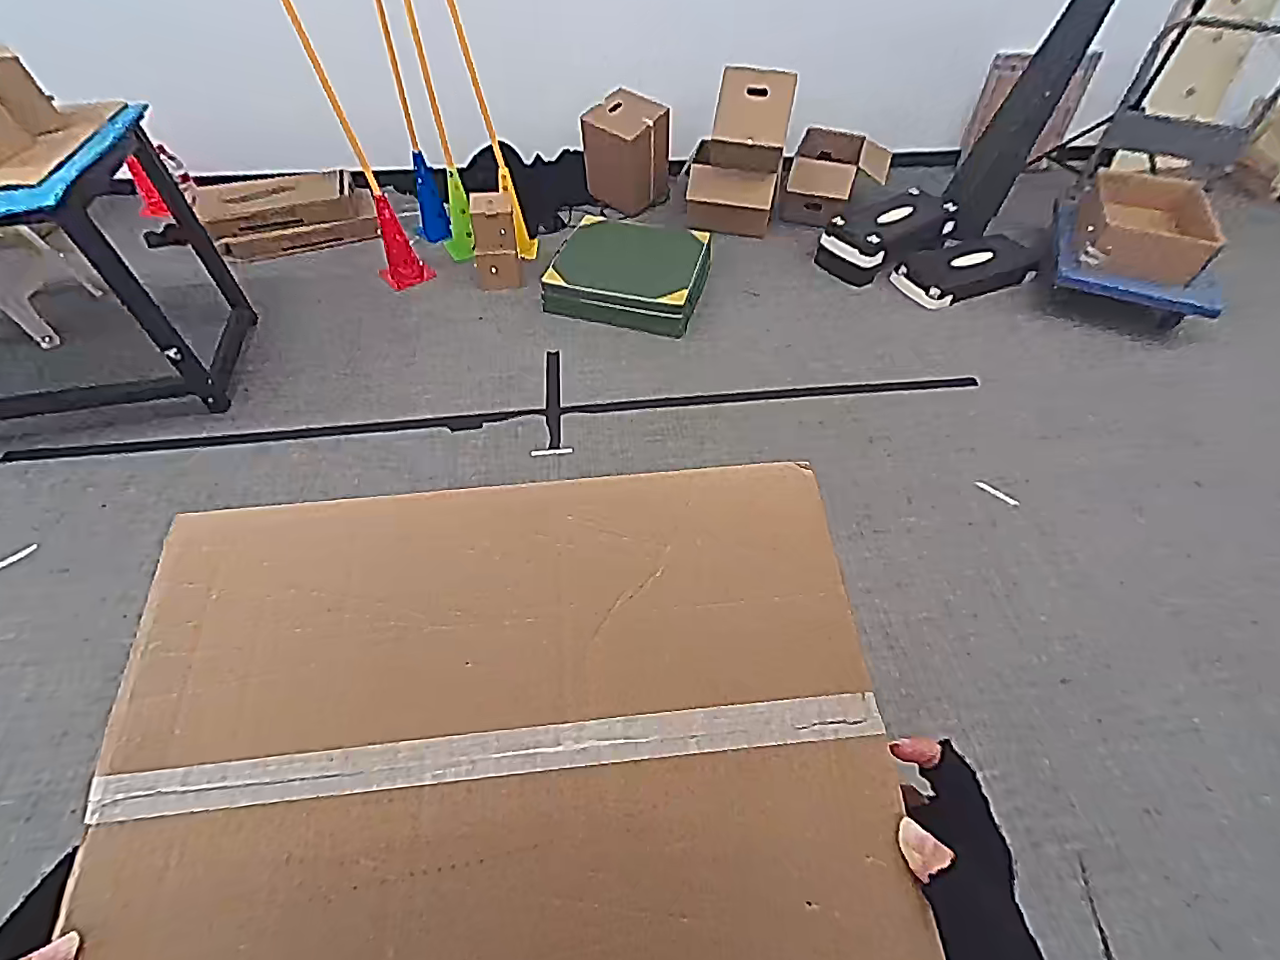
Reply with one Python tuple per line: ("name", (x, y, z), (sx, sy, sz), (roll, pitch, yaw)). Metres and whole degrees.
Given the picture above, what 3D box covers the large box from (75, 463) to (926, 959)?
("large box", (-0.076, 0.210, 0.429), (0.408, 0.320, 0.320), (-5, 65, -2))
